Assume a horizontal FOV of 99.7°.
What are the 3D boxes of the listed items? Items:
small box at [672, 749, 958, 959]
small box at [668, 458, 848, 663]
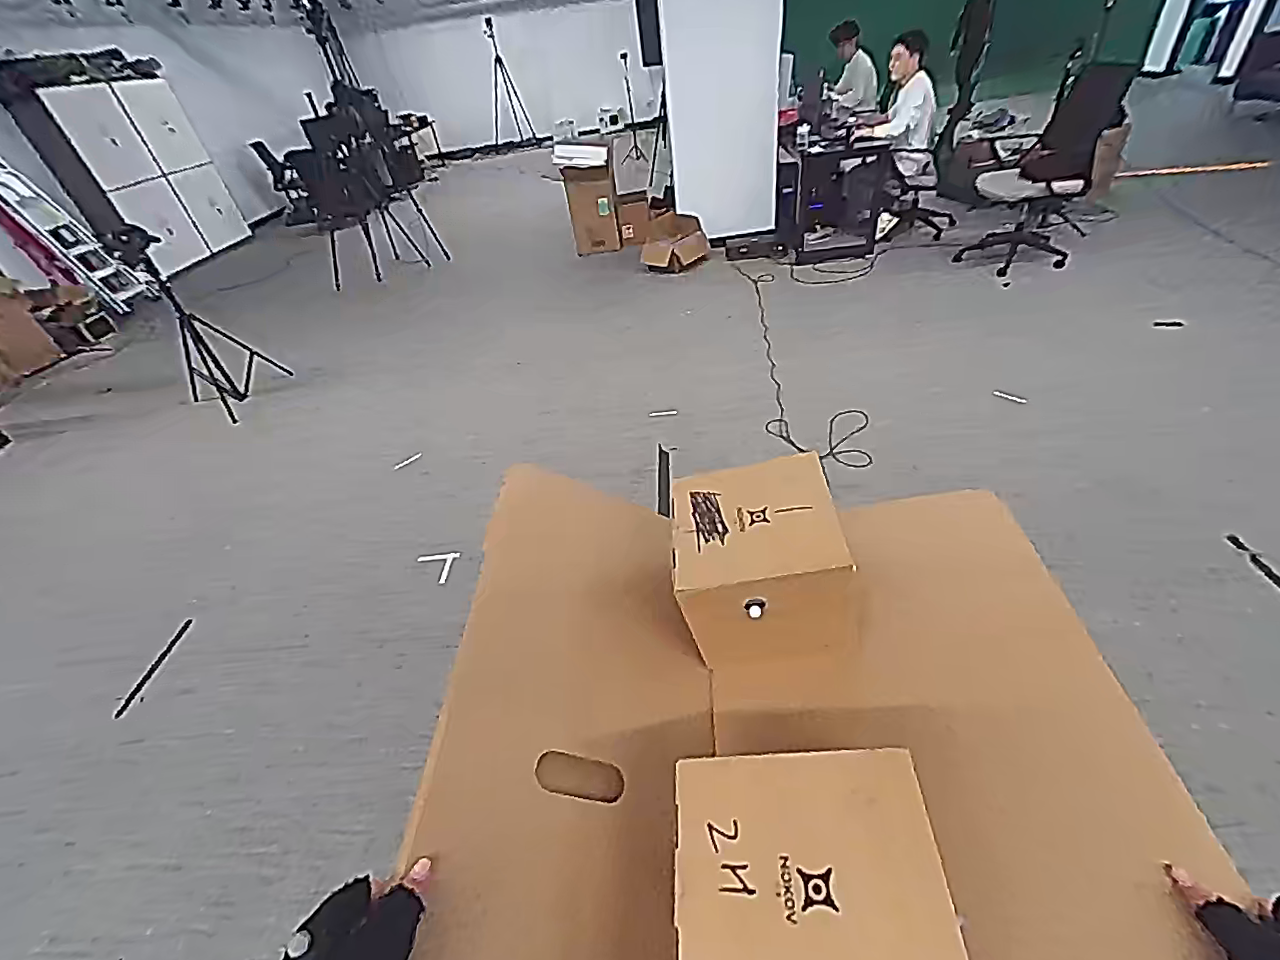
[{"bbox_3d":[0.129,0.325,0.418,0.179,0.176,0.168,-10,43,15],"label":"small box"},{"bbox_3d":[0.139,0.103,0.648,0.179,0.176,0.168,-11,43,12],"label":"small box"}]
